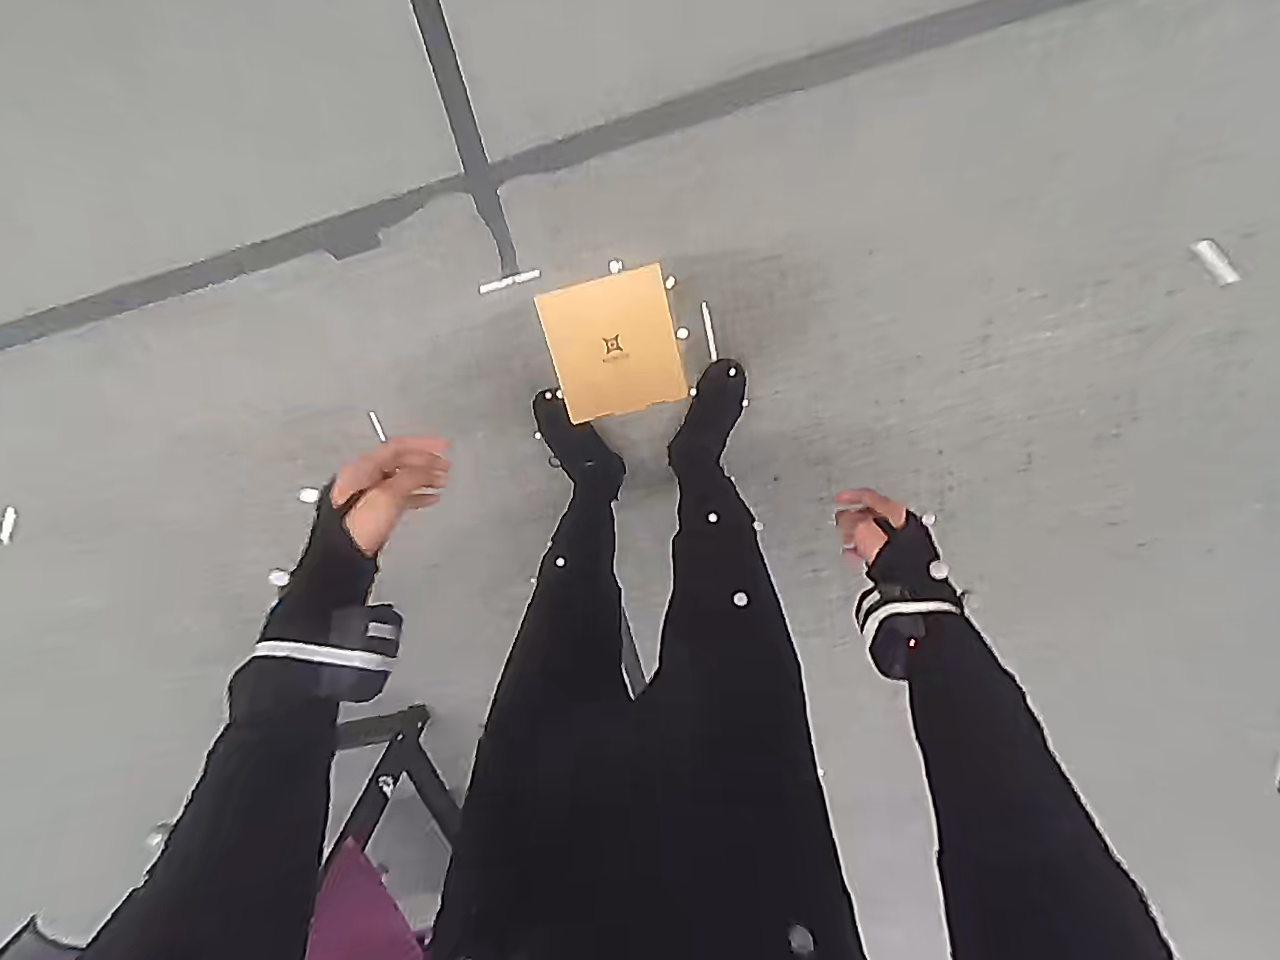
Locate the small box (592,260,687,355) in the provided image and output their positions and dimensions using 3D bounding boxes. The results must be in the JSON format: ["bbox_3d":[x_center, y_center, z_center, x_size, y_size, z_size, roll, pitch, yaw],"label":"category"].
[{"bbox_3d":[-0.011,-0.326,1.074,0.168,0.176,0.179,-15,113,9],"label":"small box"}]

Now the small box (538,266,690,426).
[{"bbox_3d":[-0.030,-0.198,0.773,0.168,0.176,0.179,-12,113,7],"label":"small box"}]
